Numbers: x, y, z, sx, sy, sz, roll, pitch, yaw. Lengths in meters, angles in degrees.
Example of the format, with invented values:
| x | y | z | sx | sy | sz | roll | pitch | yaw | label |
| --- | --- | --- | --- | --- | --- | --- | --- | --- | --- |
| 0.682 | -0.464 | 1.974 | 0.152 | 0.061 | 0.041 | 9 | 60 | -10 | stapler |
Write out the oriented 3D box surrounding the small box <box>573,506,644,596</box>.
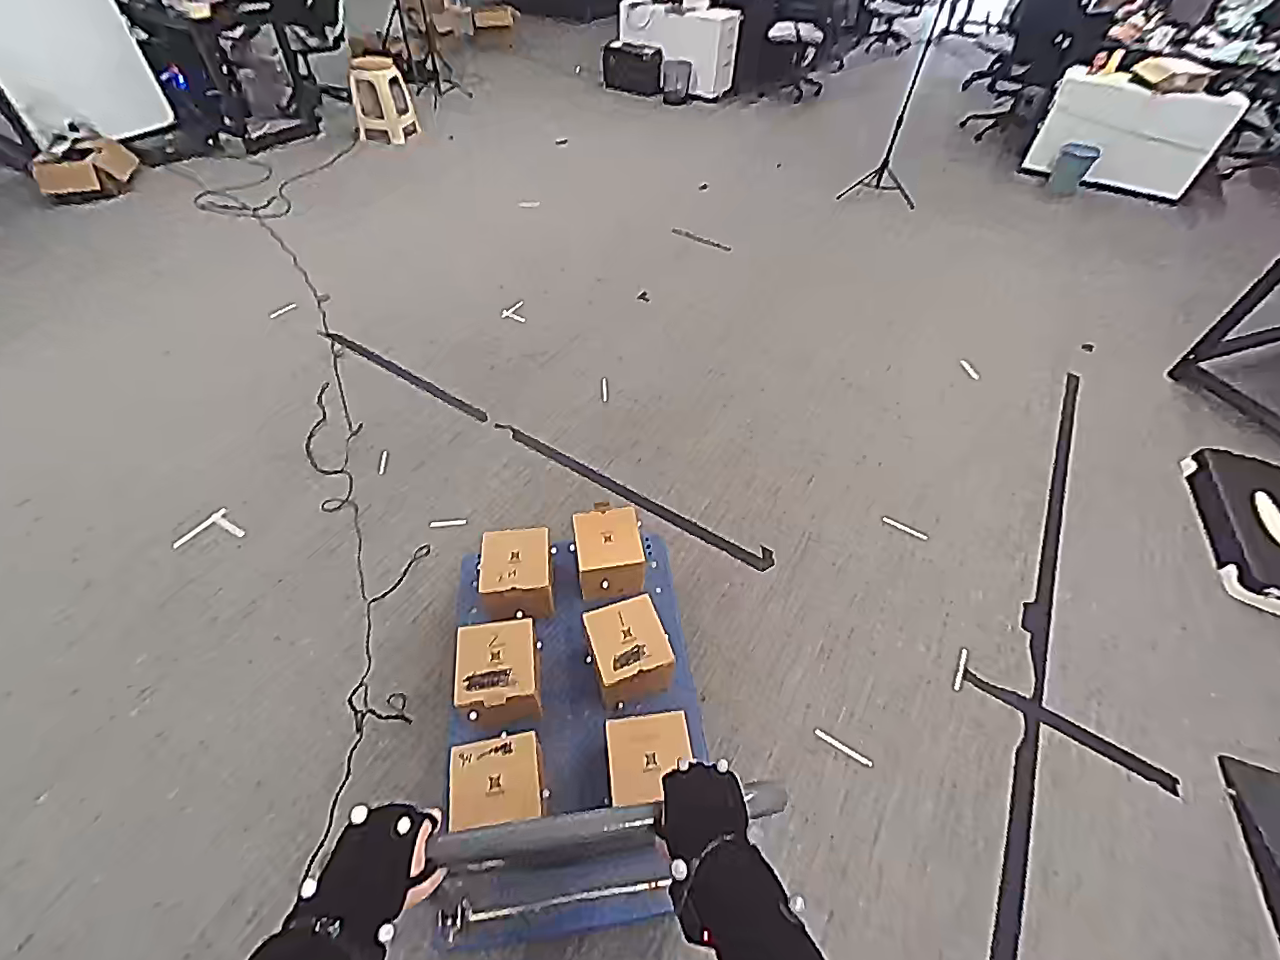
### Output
| x | y | z | sx | sy | sz | roll | pitch | yaw | label |
| --- | --- | --- | --- | --- | --- | --- | --- | --- | --- |
| -0.084 | 0.196 | 1.449 | 0.168 | 0.176 | 0.179 | -7 | 51 | -8 | small box |

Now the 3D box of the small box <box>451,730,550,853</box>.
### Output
| x | y | z | sx | sy | sz | roll | pitch | yaw | label |
| --- | --- | --- | --- | --- | --- | --- | --- | --- | --- |
| -0.274 | 0.624 | 1.078 | 0.168 | 0.176 | 0.179 | -7 | 51 | -10 | small box |

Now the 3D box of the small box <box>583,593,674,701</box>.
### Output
| x | y | z | sx | sy | sz | roll | pitch | yaw | label |
| --- | --- | --- | --- | --- | --- | --- | --- | --- | --- |
| -0.029 | 0.401 | 1.278 | 0.168 | 0.176 | 0.179 | -14 | 51 | -14 | small box |

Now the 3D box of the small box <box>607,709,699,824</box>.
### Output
| x | y | z | sx | sy | sz | roll | pitch | yaw | label |
| --- | --- | --- | --- | --- | --- | --- | --- | --- | --- |
| 0.021 | 0.596 | 1.118 | 0.168 | 0.176 | 0.179 | -4 | 50 | -7 | small box |

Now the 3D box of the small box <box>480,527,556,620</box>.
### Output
| x | y | z | sx | sy | sz | roll | pitch | yaw | label |
| --- | --- | --- | --- | --- | --- | --- | --- | --- | --- |
| -0.308 | 0.242 | 1.397 | 0.168 | 0.176 | 0.179 | -4 | 51 | -5 | small box |
